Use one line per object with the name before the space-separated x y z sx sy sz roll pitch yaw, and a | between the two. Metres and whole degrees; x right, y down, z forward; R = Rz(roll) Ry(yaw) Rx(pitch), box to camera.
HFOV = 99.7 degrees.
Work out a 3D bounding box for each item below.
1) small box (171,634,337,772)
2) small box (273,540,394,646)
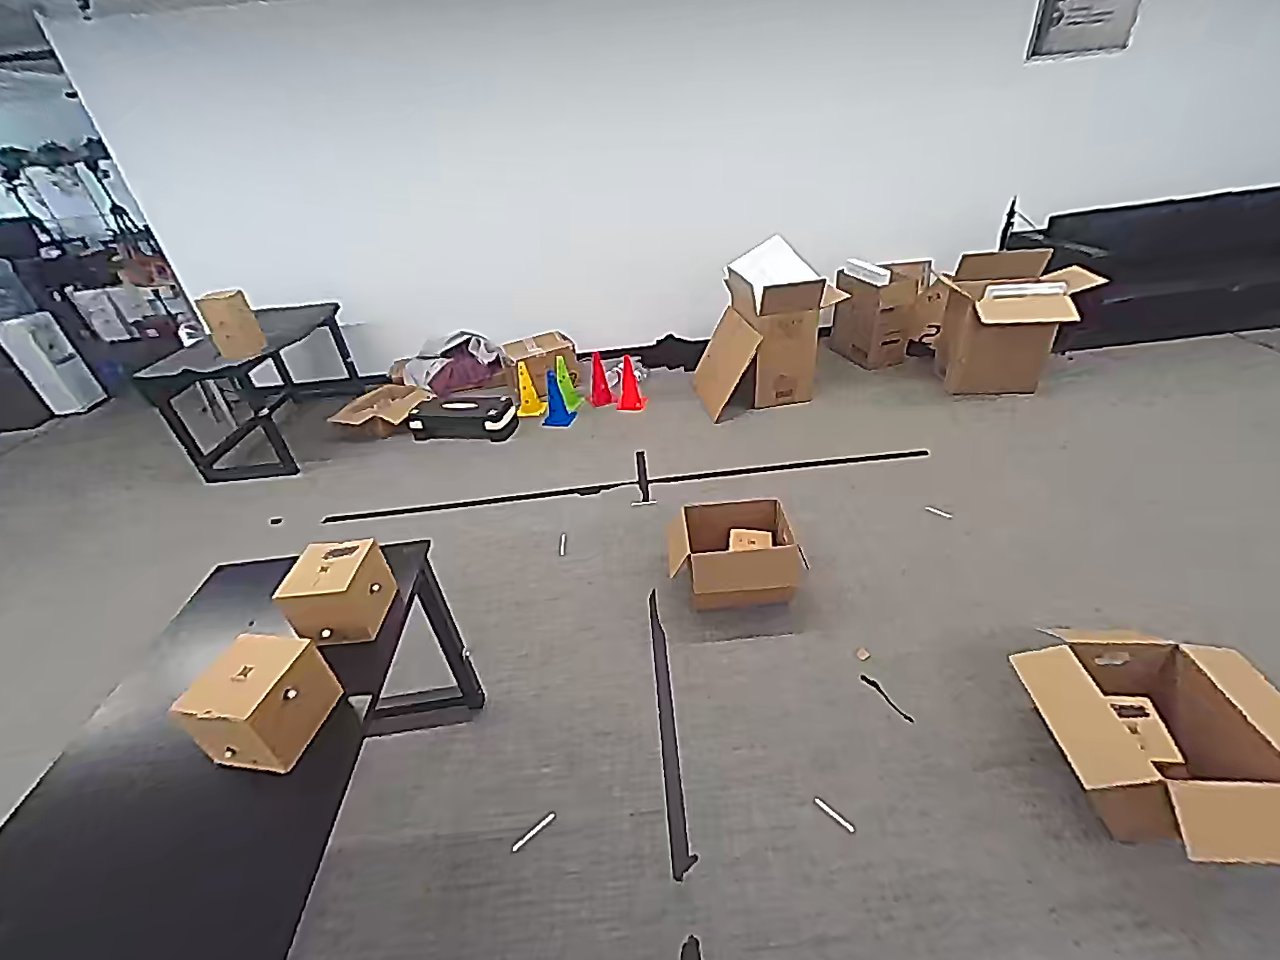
small box | -0.721 0.425 1.040 0.168 0.176 0.179 0 35 11
small box | -0.704 0.265 1.270 0.168 0.176 0.179 -6 35 1
